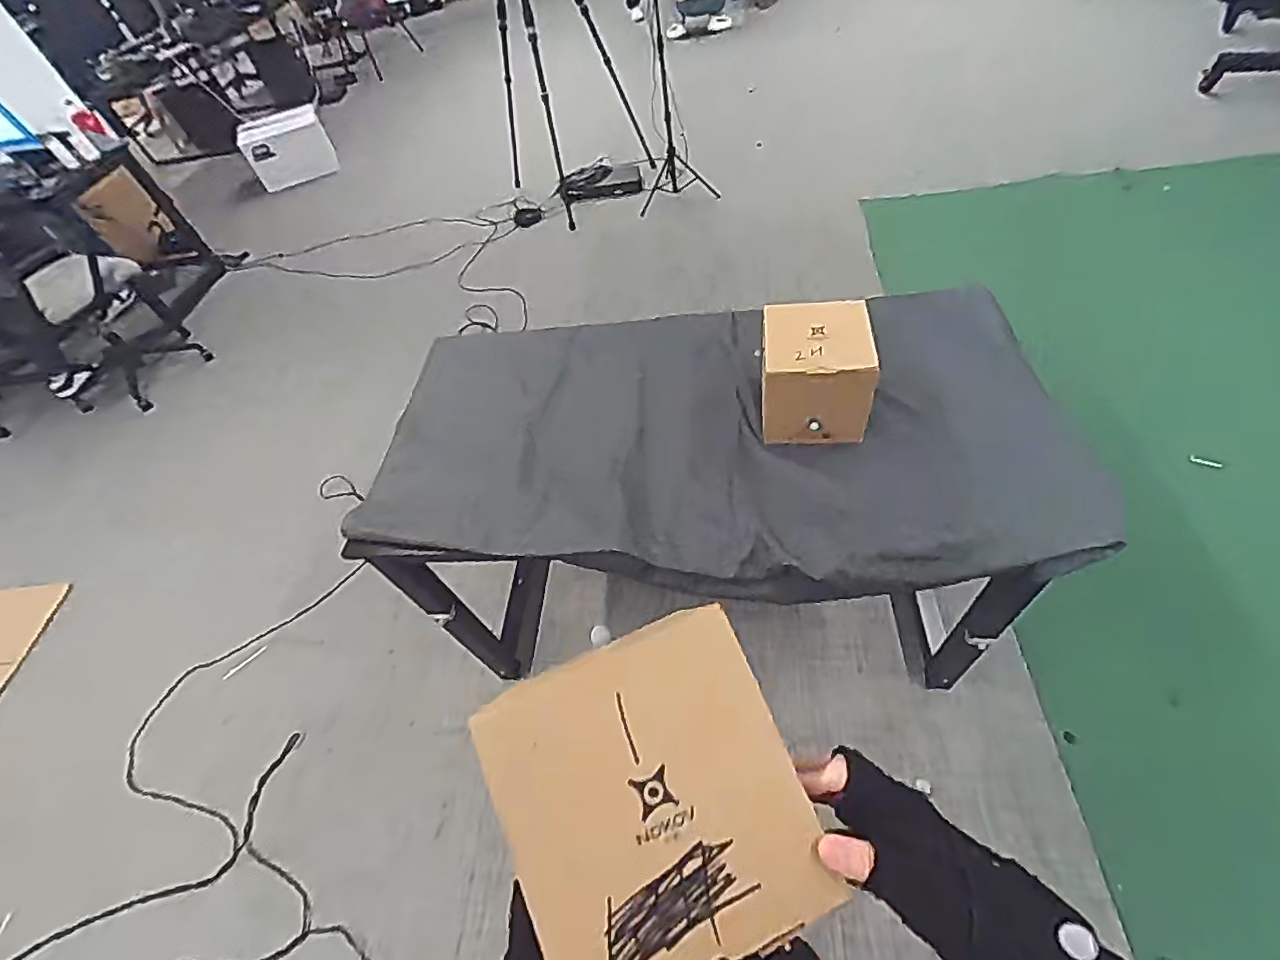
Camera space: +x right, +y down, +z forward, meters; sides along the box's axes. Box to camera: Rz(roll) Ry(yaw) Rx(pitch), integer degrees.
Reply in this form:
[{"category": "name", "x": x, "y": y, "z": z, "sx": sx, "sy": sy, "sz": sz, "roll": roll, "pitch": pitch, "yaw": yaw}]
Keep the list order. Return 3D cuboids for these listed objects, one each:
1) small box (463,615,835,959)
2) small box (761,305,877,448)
[{"category": "small box", "x": -0.001, "y": 0.209, "z": 0.383, "sx": 0.168, "sy": 0.176, "sz": 0.179, "roll": -22, "pitch": 77, "yaw": -10}, {"category": "small box", "x": 0.294, "y": -0.175, "z": 0.925, "sx": 0.168, "sy": 0.176, "sz": 0.179, "roll": 0, "pitch": 53, "yaw": 12}]
